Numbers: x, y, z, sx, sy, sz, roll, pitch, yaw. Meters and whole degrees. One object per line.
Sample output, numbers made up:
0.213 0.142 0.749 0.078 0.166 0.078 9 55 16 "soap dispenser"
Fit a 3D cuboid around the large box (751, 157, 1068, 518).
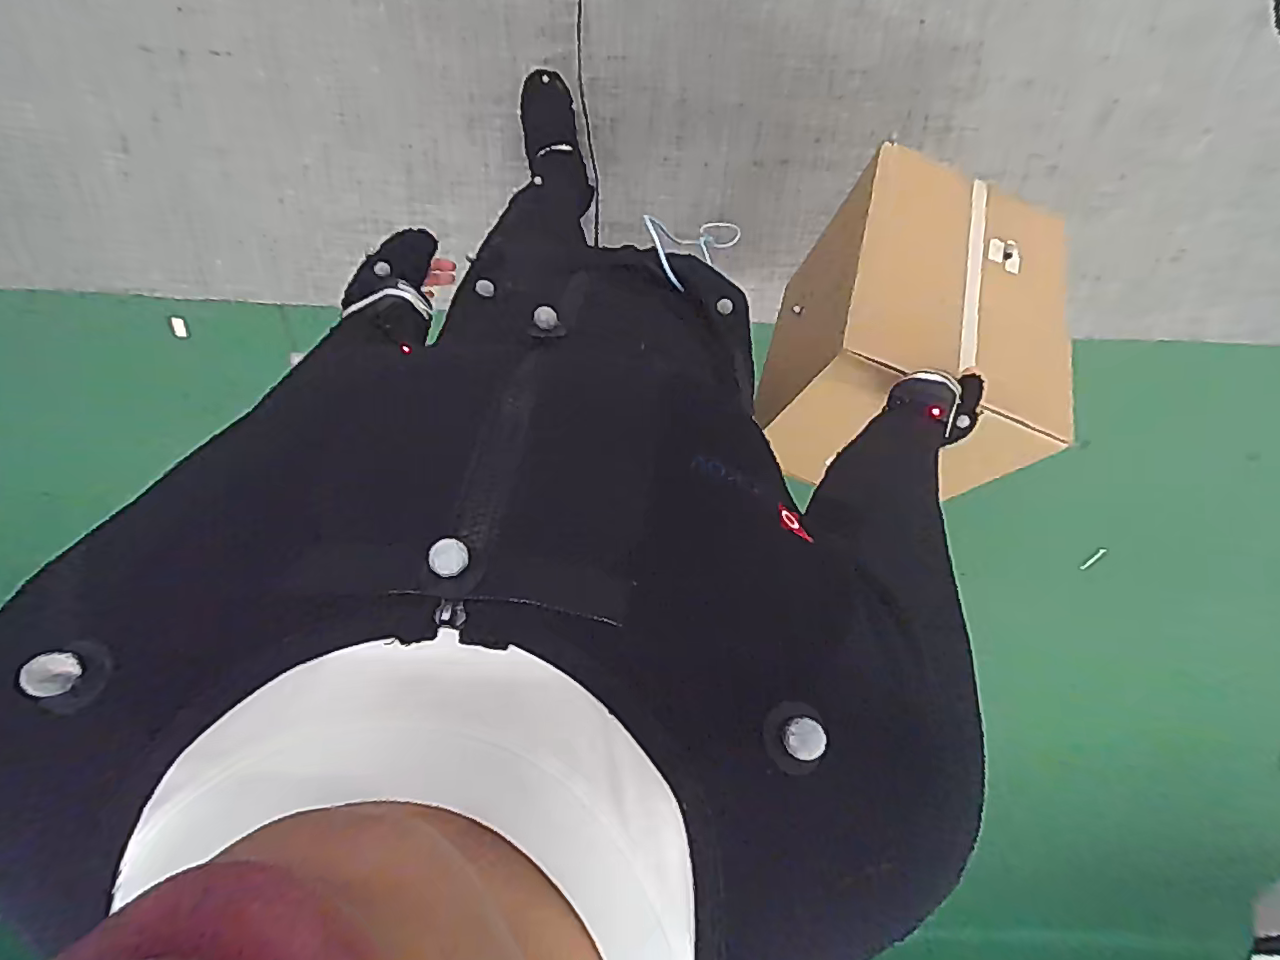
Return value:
0.408 -0.205 0.868 0.320 0.408 0.320 21 155 -5 "large box"
